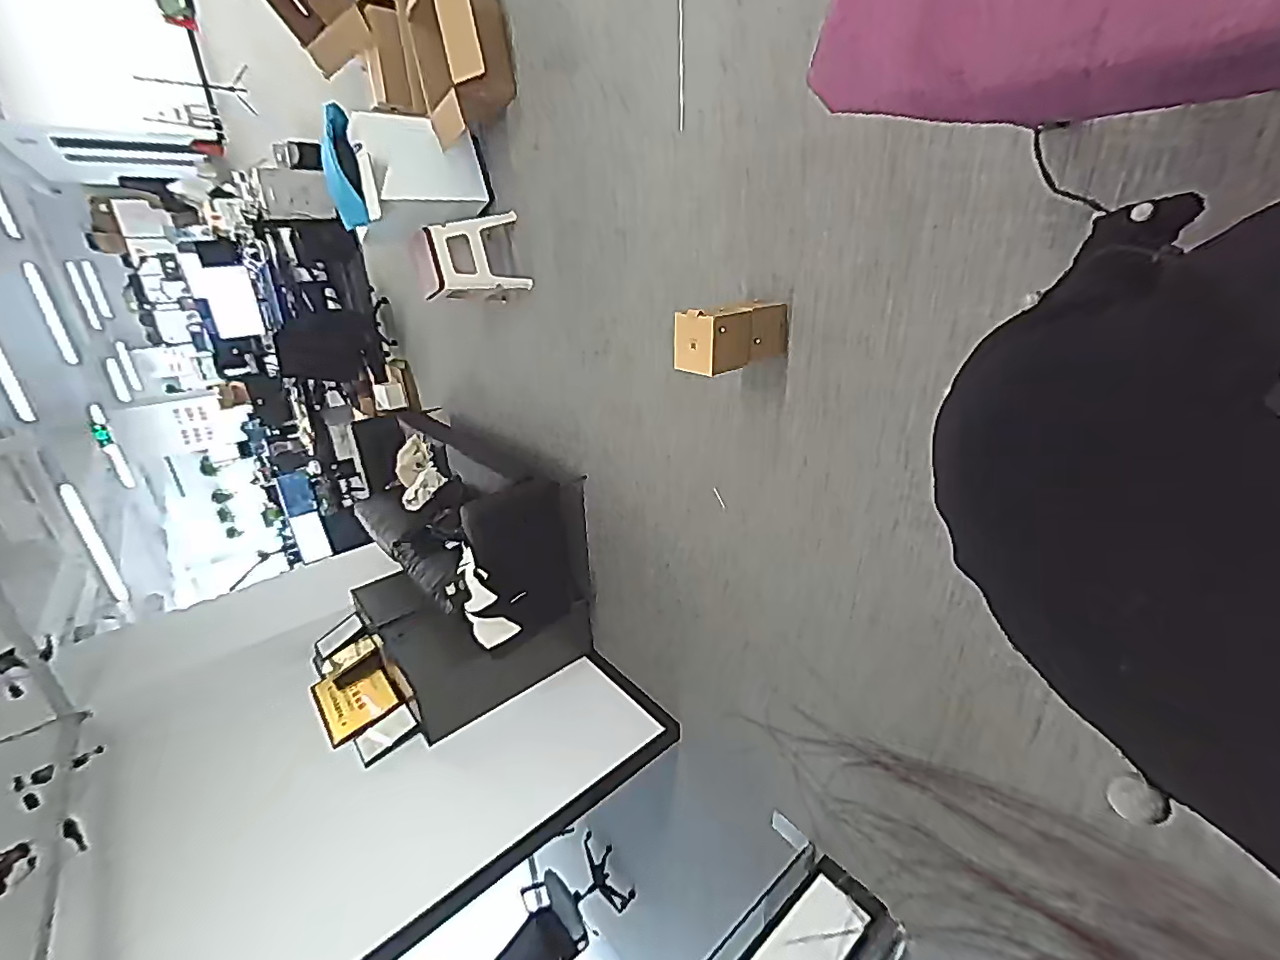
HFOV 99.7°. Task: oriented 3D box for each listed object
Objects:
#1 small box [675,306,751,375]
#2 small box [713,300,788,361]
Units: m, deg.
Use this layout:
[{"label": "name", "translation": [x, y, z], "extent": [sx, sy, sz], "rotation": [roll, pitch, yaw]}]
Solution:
[{"label": "small box", "translation": [0.226, -0.435, 1.671], "extent": [0.168, 0.176, 0.179], "rotation": [24, 124, 45]}, {"label": "small box", "translation": [0.352, -0.491, 1.758], "extent": [0.179, 0.176, 0.168], "rotation": [25, 125, 46]}]
